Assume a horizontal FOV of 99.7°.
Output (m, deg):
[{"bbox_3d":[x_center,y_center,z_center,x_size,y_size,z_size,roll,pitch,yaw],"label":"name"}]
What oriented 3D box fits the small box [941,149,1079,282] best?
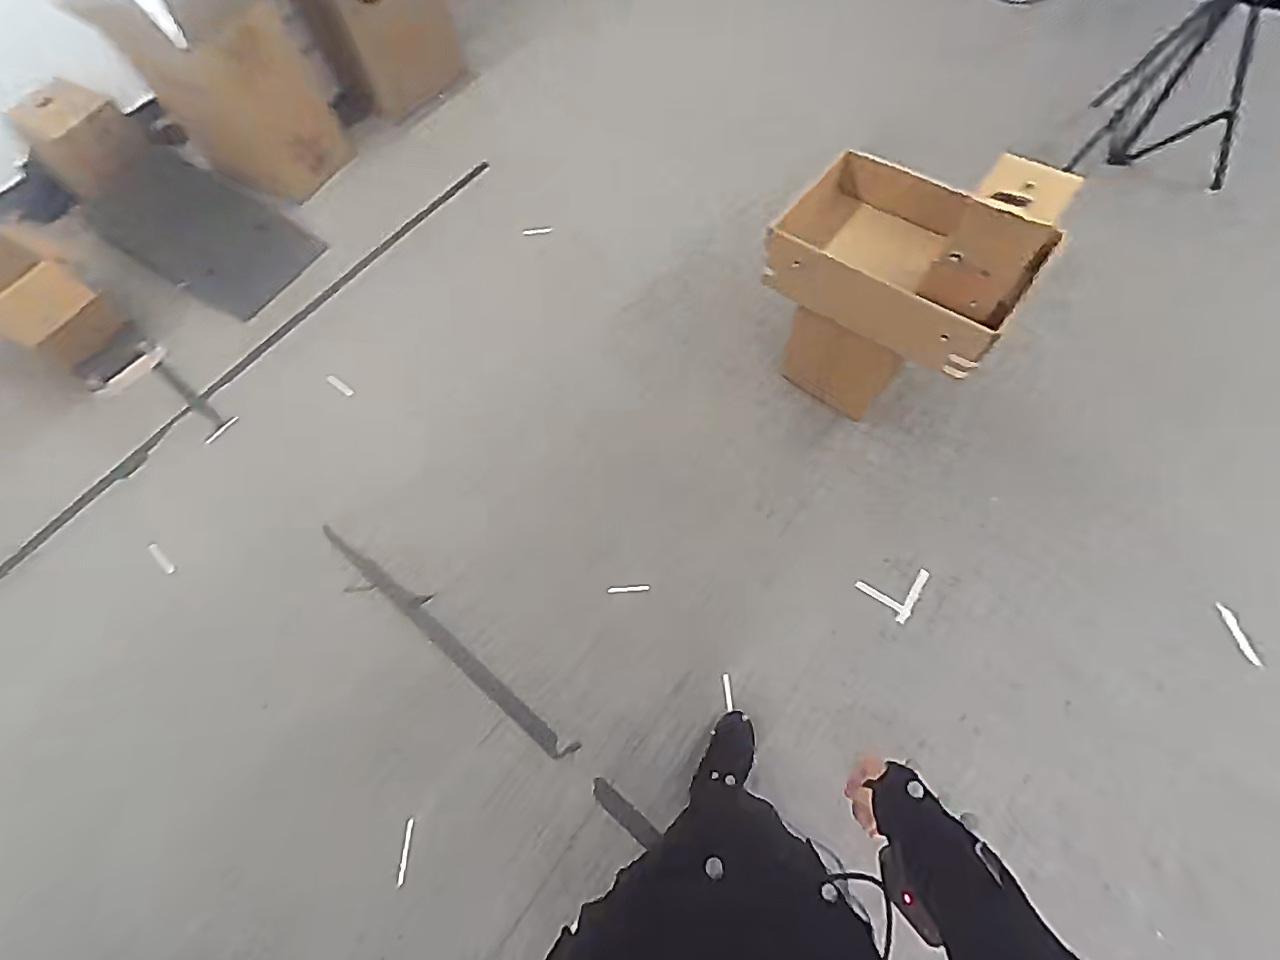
[{"bbox_3d":[0.792,-0.569,1.178,0.168,0.176,0.179,33,72,18],"label":"small box"}]
